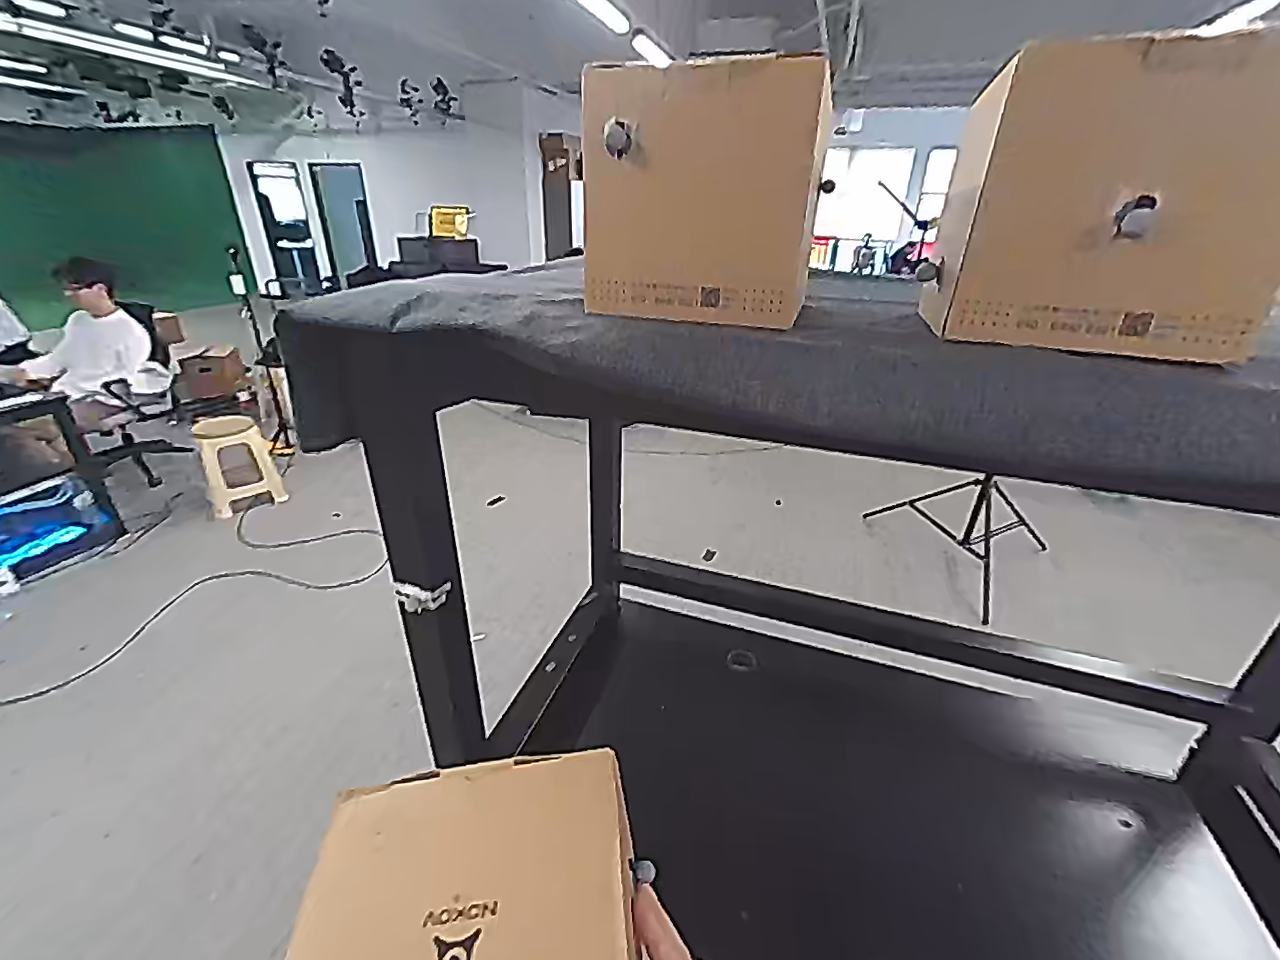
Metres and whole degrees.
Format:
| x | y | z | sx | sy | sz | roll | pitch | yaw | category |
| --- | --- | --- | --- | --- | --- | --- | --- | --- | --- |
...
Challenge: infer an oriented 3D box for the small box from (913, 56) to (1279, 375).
| x | y | z | sx | sy | sz | roll | pitch | yaw | category |
| --- | --- | --- | --- | --- | --- | --- | --- | --- | --- |
| 0.313 | -0.181 | 0.394 | 0.168 | 0.176 | 0.179 | 11 | 26 | 16 | small box |

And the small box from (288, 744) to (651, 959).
| x | y | z | sx | sy | sz | roll | pitch | yaw | category |
| --- | --- | --- | --- | --- | --- | --- | --- | --- | --- |
| -0.080 | 0.286 | 0.306 | 0.168 | 0.176 | 0.179 | -9 | 38 | -3 | small box |
